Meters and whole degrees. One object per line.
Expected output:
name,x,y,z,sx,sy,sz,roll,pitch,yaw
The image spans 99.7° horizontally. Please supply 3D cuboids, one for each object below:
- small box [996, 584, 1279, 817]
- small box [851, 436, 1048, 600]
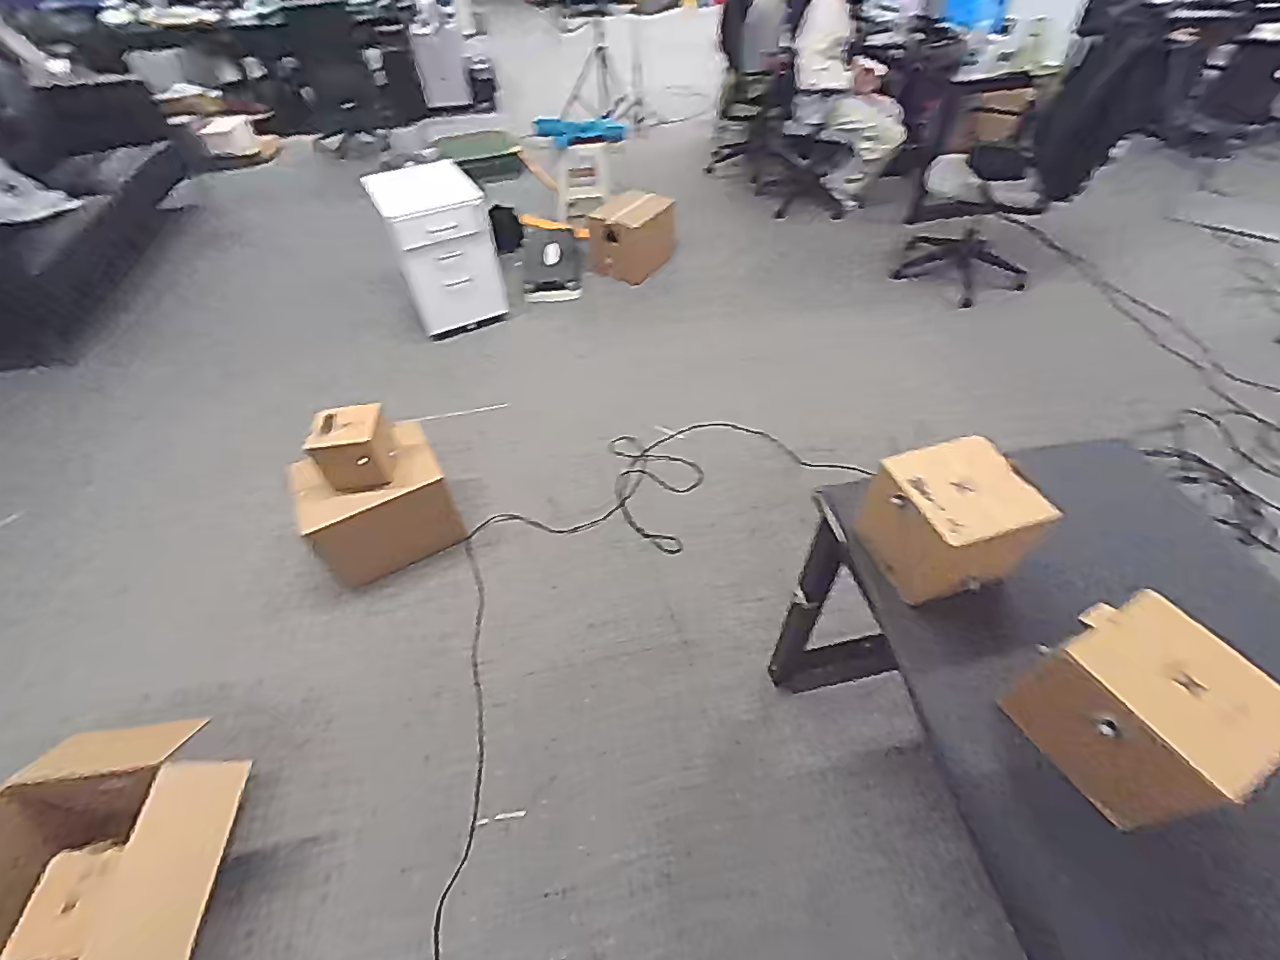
small box,0.585,0.265,0.653,0.168,0.176,0.179,-23,51,-17
small box,0.462,0.061,0.841,0.179,0.176,0.168,-13,49,-10
